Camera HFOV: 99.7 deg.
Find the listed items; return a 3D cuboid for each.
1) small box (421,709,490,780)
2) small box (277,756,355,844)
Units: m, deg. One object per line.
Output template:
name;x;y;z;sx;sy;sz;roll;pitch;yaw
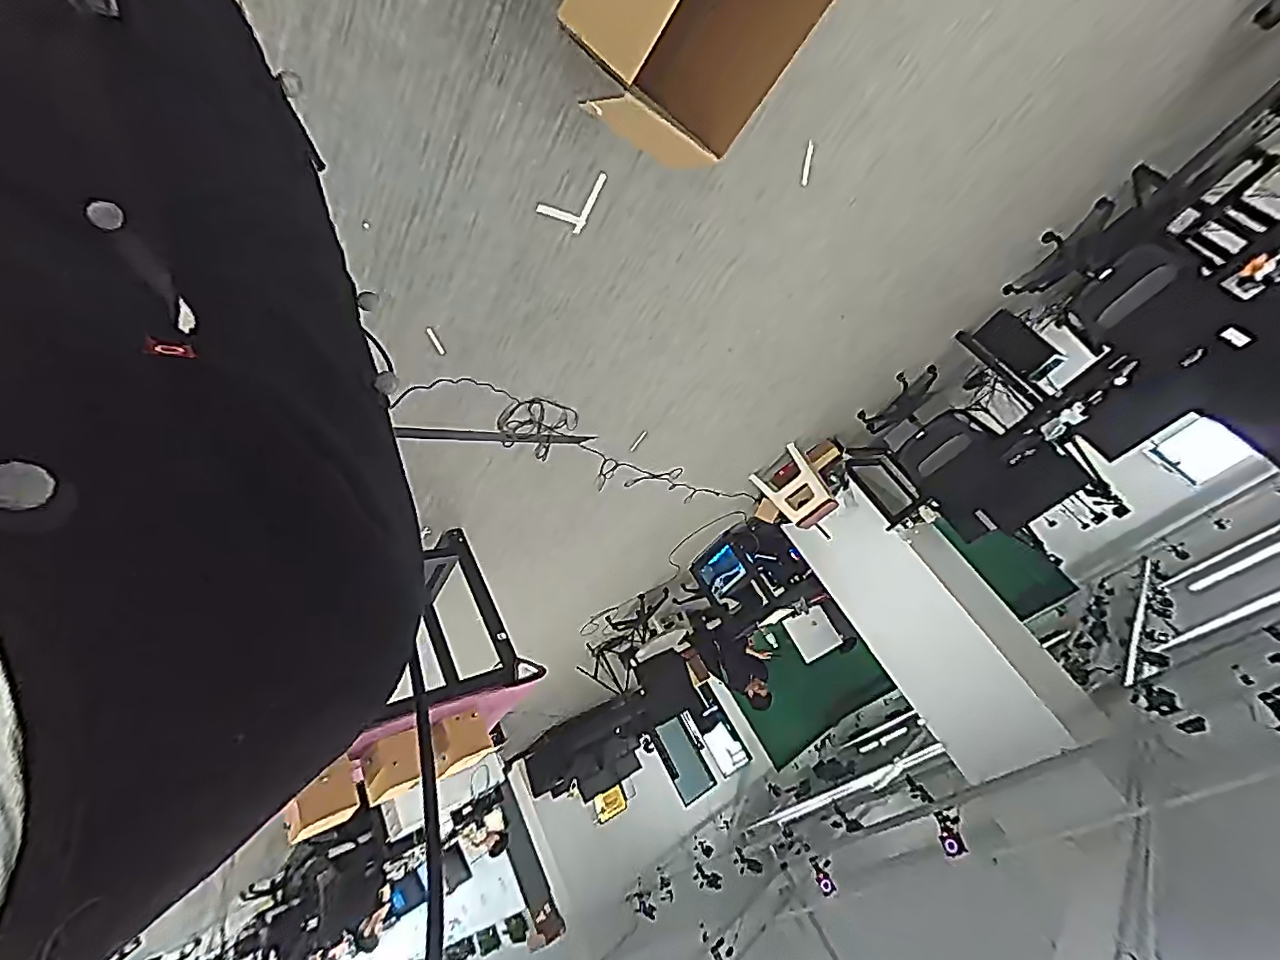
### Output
small box;-0.714;1.004;2.074;0.168;0.176;0.179;3;137;-50
small box;-1.038;1.013;1.722;0.168;0.176;0.179;-2;141;-47
